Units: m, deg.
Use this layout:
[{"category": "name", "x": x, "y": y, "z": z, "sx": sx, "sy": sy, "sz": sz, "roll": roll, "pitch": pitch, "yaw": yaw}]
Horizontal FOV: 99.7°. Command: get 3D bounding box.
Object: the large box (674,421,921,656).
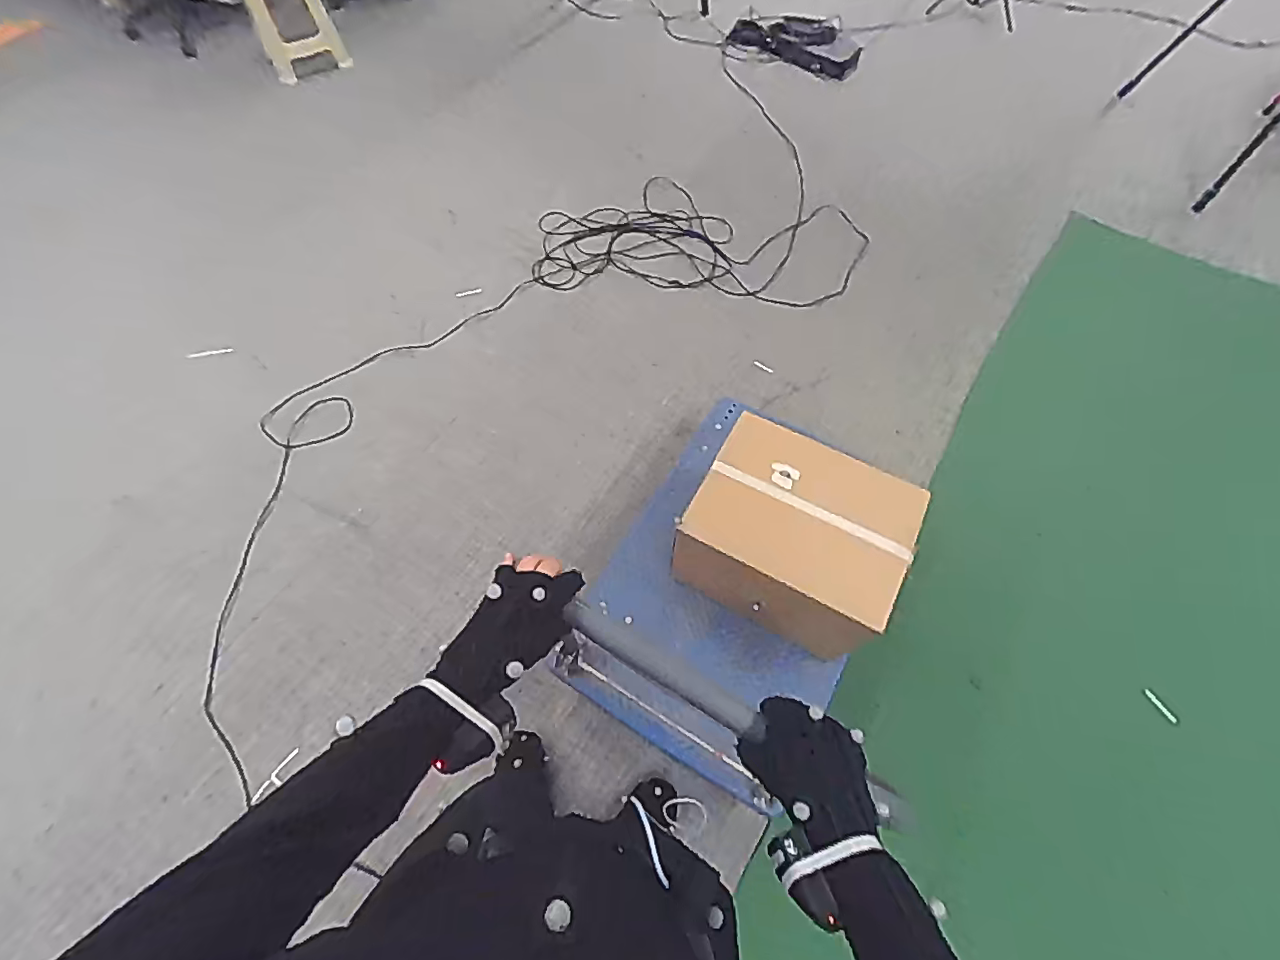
[{"category": "large box", "x": 0.319, "y": 0.137, "z": 1.188, "sx": 0.408, "sy": 0.320, "sz": 0.320, "roll": 25, "pitch": 65, "yaw": 14}]
